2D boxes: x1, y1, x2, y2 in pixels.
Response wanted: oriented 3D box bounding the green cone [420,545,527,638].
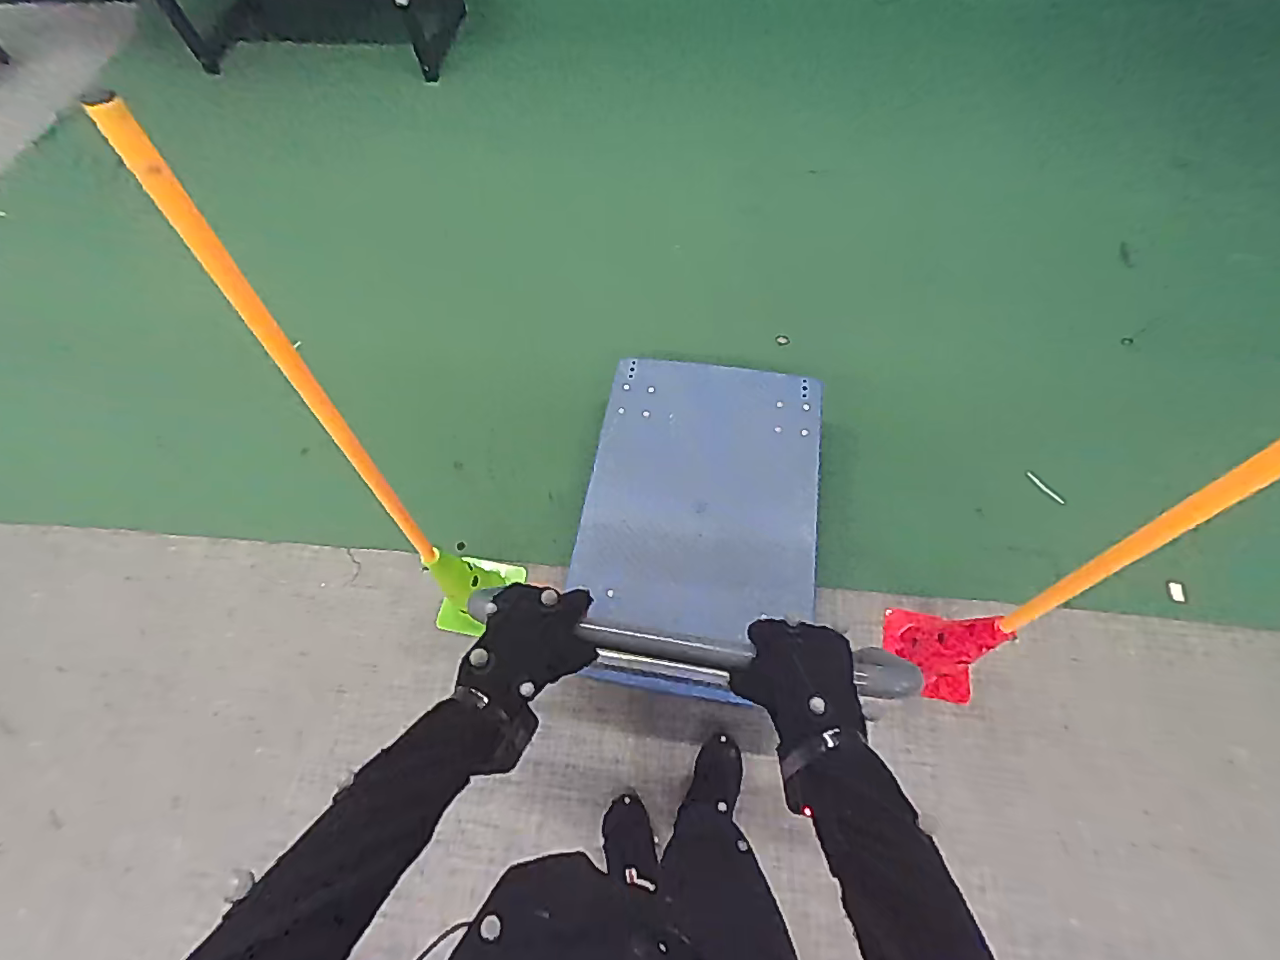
[{"bbox_3d":[-0.429,0.234,1.299,0.202,0.368,0.200,8,64,8],"label":"green cone"}]
